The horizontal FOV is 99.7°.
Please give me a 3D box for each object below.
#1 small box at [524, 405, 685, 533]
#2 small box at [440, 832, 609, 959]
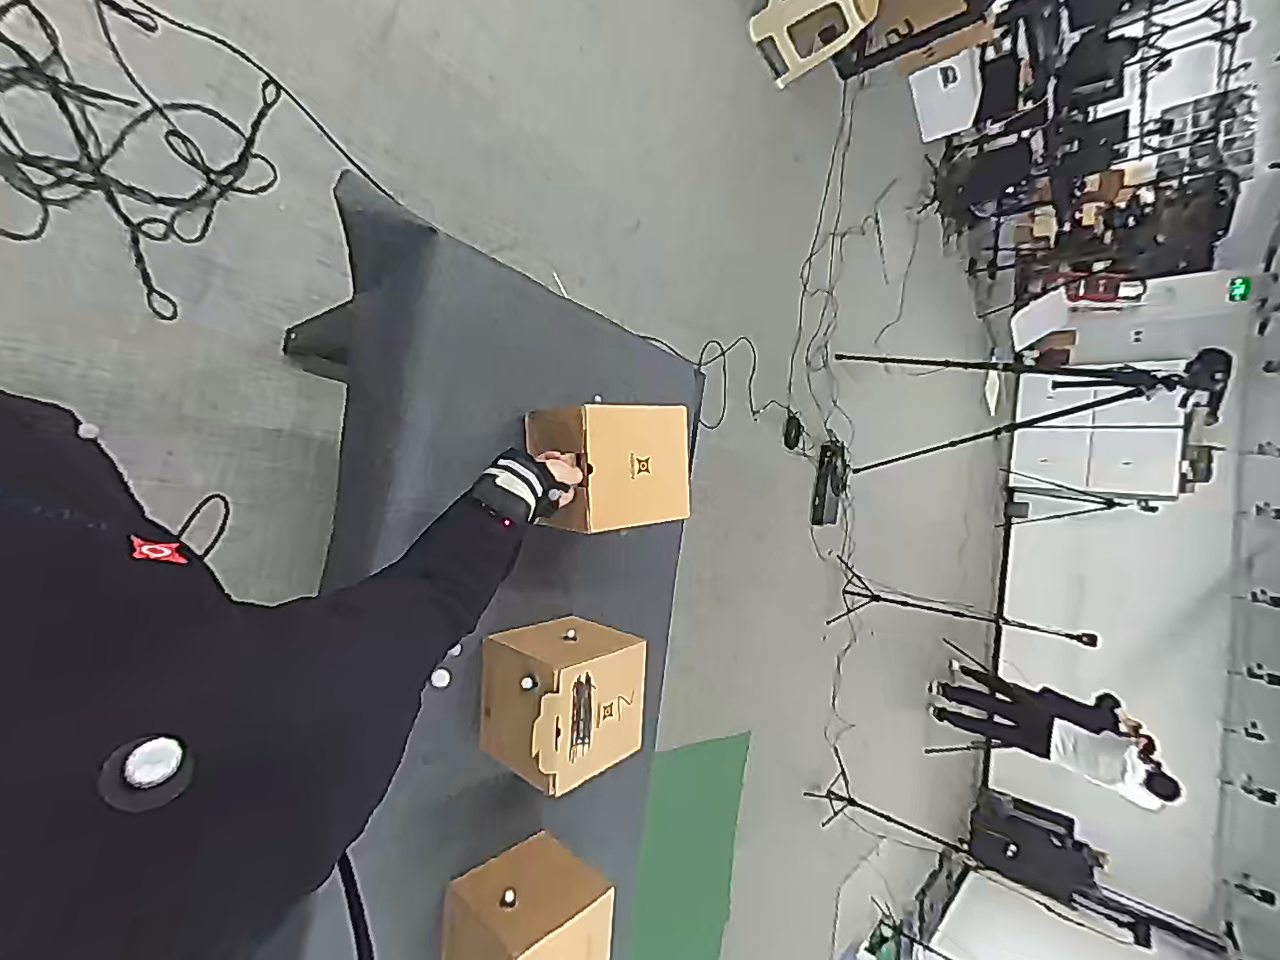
[{"bbox_3d":[-0.053,-0.023,0.796,0.179,0.176,0.168,-6,96,-38],"label":"small box"},{"bbox_3d":[-0.168,0.652,0.769,0.179,0.176,0.168,3,92,-50],"label":"small box"}]
